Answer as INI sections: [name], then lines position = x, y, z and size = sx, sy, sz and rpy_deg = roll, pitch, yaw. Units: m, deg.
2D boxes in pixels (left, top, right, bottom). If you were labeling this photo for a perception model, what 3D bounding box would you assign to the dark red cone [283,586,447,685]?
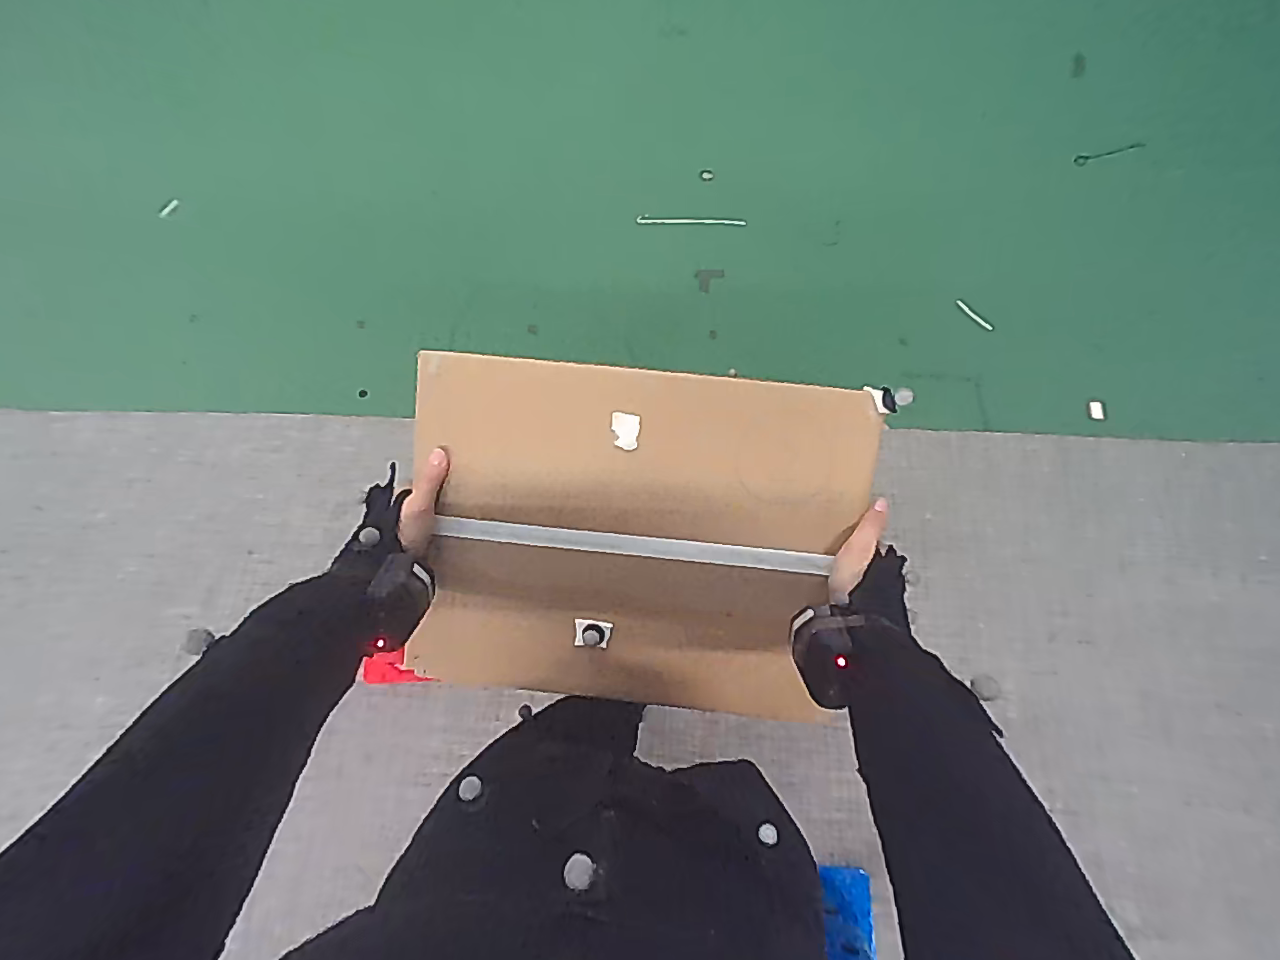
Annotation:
[dark red cone]
position = -0.540, 0.282, 1.048
size = 0.202, 0.394, 0.201
rpy_deg = -5, 68, 1
